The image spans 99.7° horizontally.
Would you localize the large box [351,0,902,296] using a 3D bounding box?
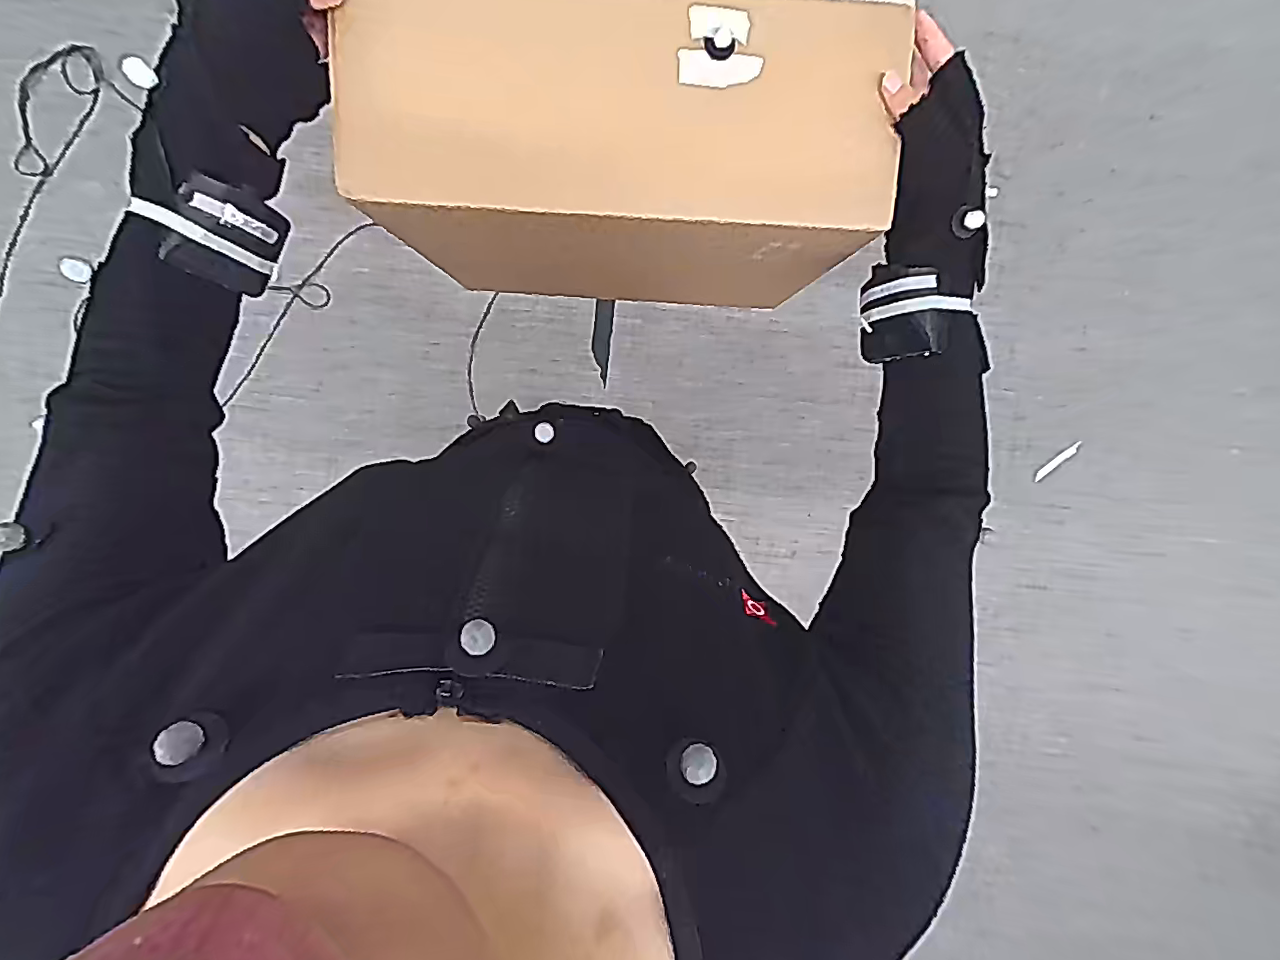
[{"bbox_3d":[-0.012,-0.376,0.535,0.408,0.320,0.320,2,98,-2],"label":"large box"}]
